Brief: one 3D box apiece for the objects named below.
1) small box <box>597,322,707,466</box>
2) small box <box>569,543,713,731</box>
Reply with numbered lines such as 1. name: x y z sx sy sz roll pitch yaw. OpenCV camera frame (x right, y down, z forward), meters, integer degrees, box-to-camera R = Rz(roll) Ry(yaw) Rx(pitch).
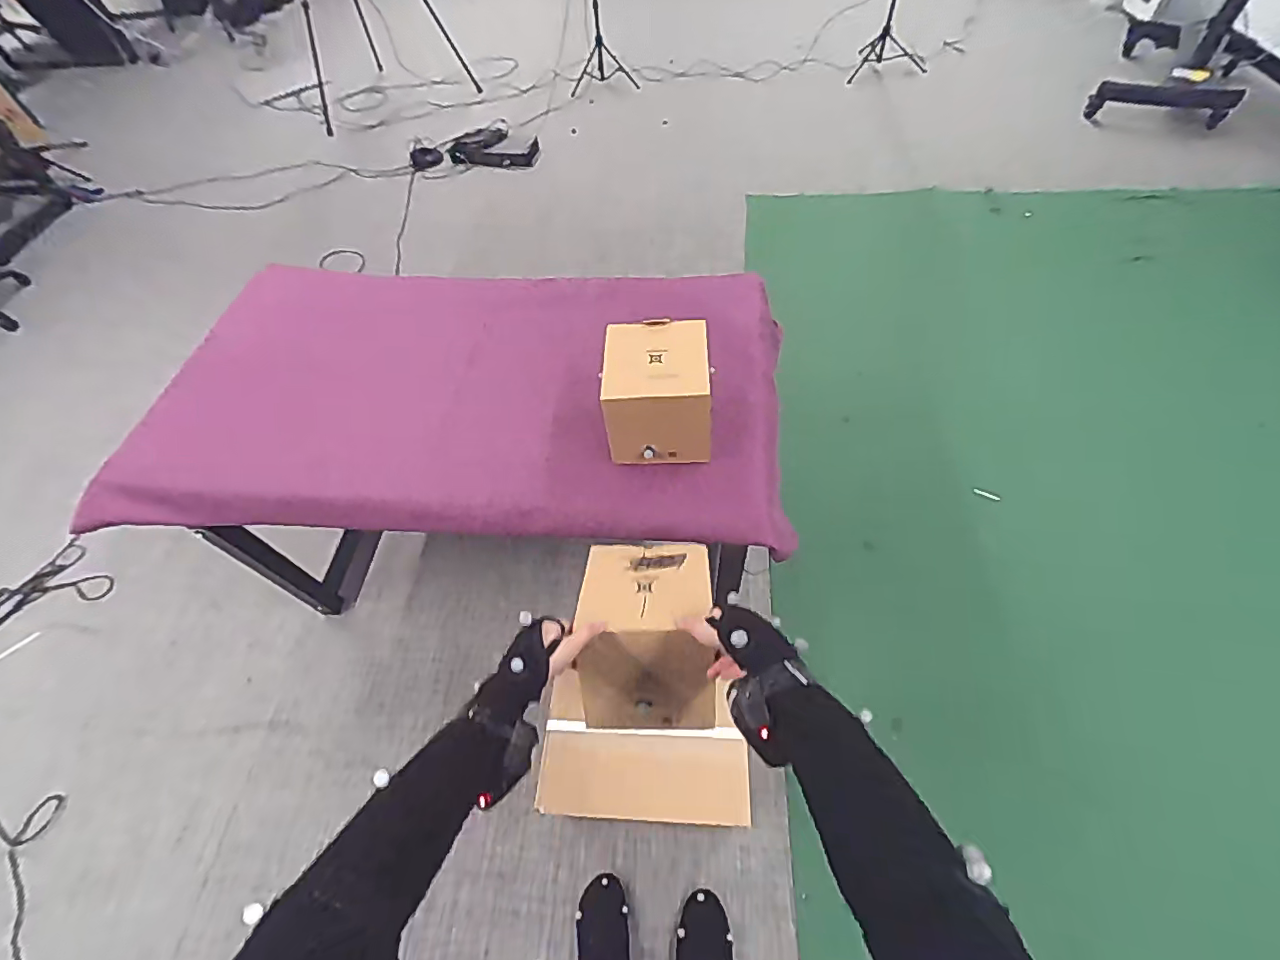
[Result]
1. small box: 0.026 -0.141 0.906 0.168 0.176 0.179 -1 54 5
2. small box: 0.009 0.198 0.713 0.168 0.176 0.179 -2 26 5
